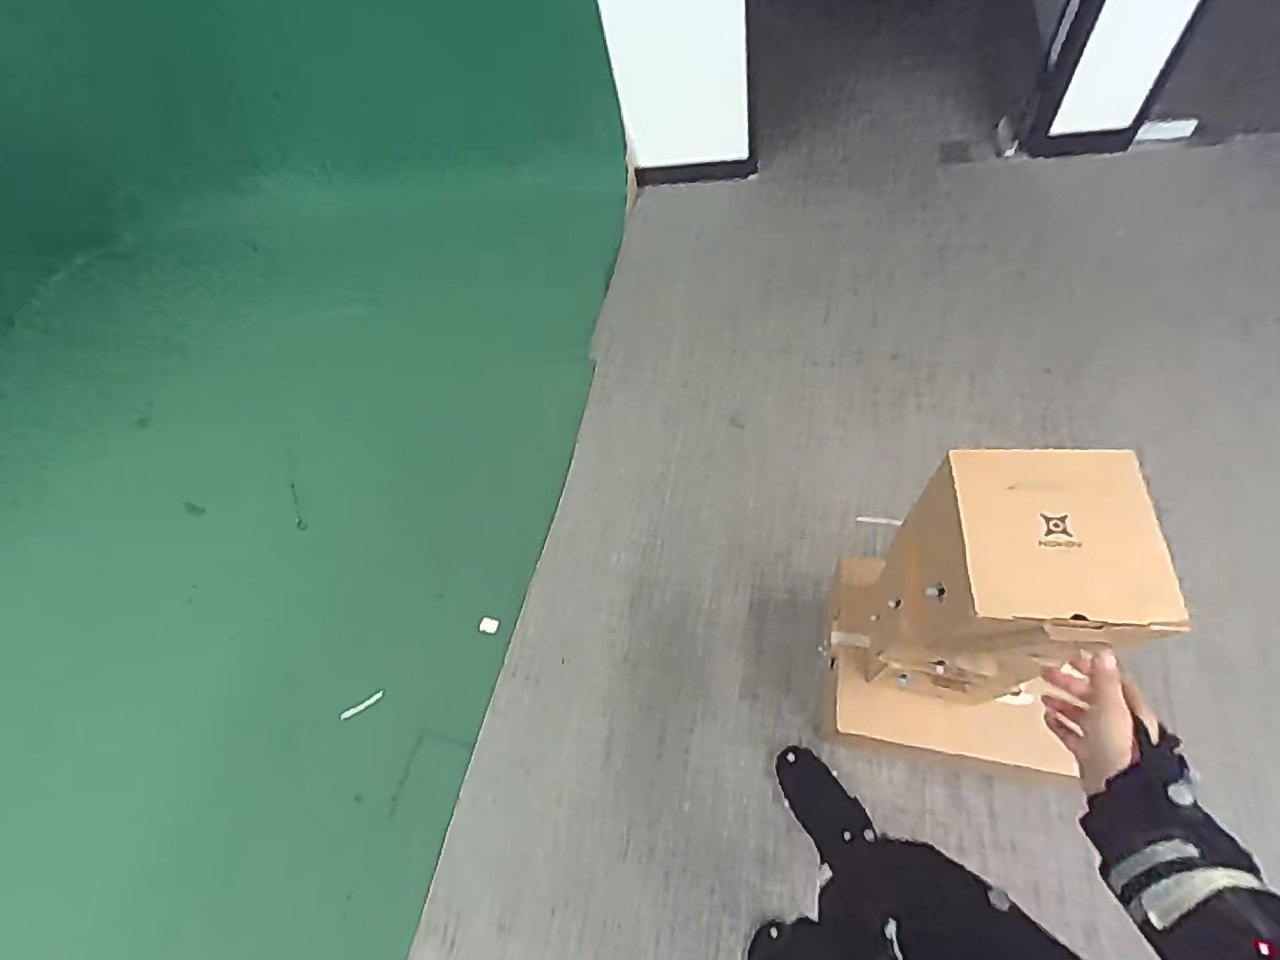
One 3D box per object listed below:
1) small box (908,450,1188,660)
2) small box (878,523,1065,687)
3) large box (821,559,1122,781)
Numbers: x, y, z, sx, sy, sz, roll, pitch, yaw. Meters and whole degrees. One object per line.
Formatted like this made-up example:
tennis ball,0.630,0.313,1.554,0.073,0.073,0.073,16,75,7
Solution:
small box,0.397,0.084,0.569,0.168,0.176,0.179,1,62,12
small box,0.423,0.154,0.713,0.168,0.176,0.179,10,65,17
large box,0.571,0.366,1.036,0.408,0.320,0.320,5,63,14
